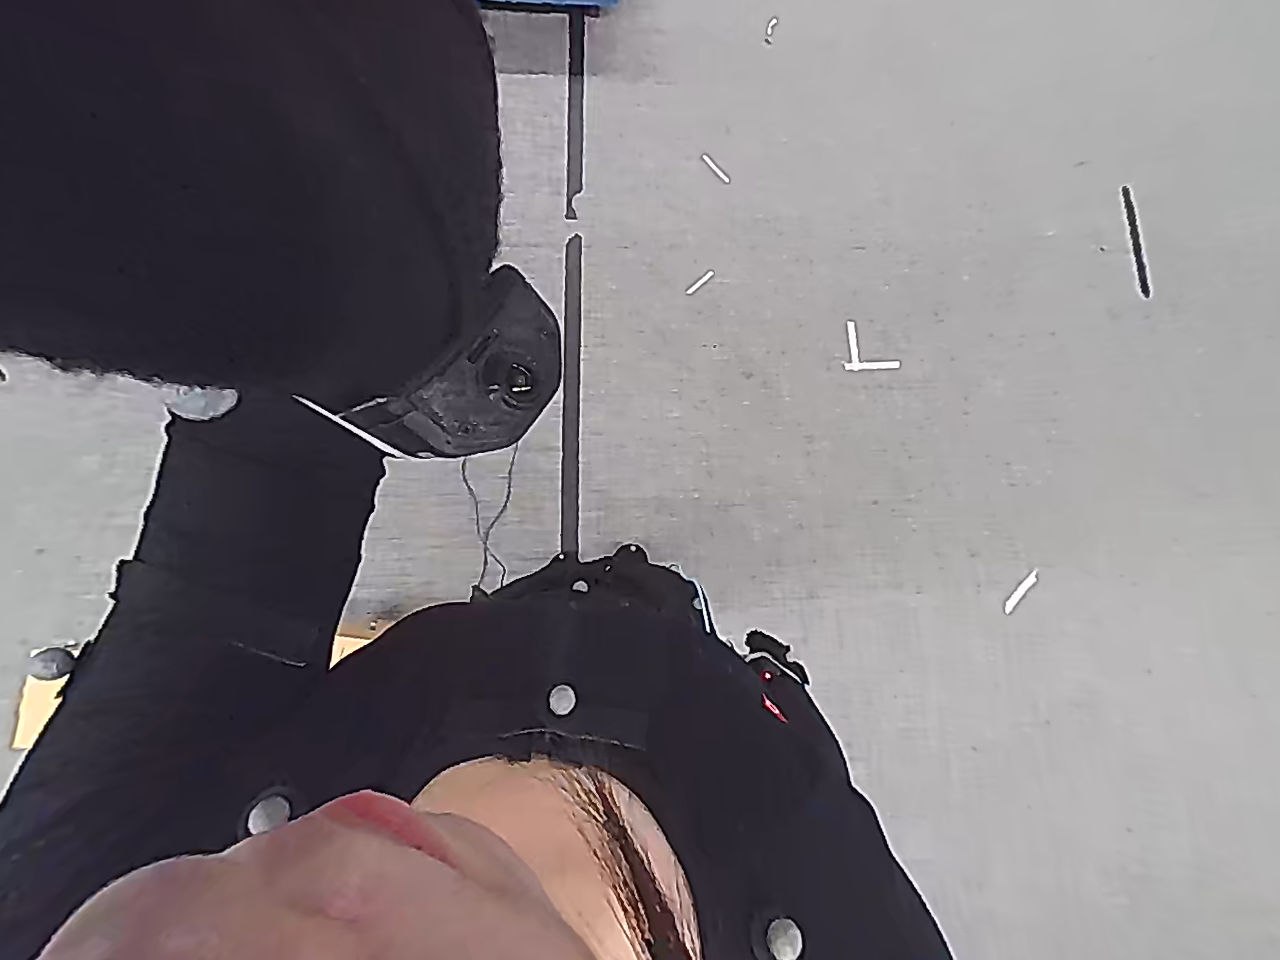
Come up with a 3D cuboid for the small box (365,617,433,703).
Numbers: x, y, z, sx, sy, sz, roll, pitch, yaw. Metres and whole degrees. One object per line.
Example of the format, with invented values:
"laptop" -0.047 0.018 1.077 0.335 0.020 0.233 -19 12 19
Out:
"small box" -0.641 0.450 1.374 0.168 0.176 0.179 6 82 -2
